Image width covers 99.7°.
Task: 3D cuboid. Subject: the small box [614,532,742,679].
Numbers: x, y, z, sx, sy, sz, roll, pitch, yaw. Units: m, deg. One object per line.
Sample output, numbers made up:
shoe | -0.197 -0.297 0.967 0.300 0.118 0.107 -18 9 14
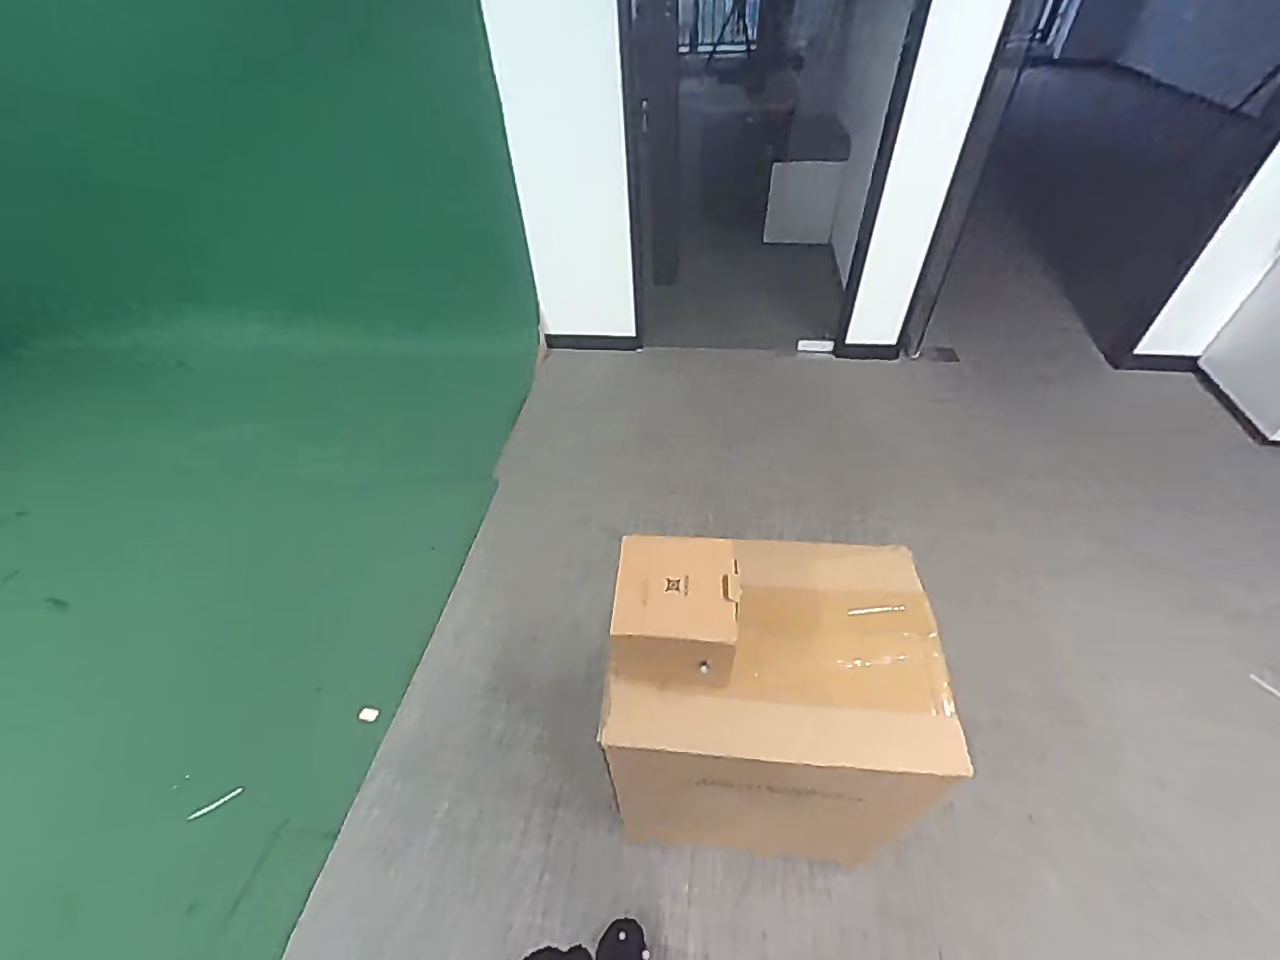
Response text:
small box | 0.062 0.199 0.844 0.179 0.176 0.168 1 49 6
